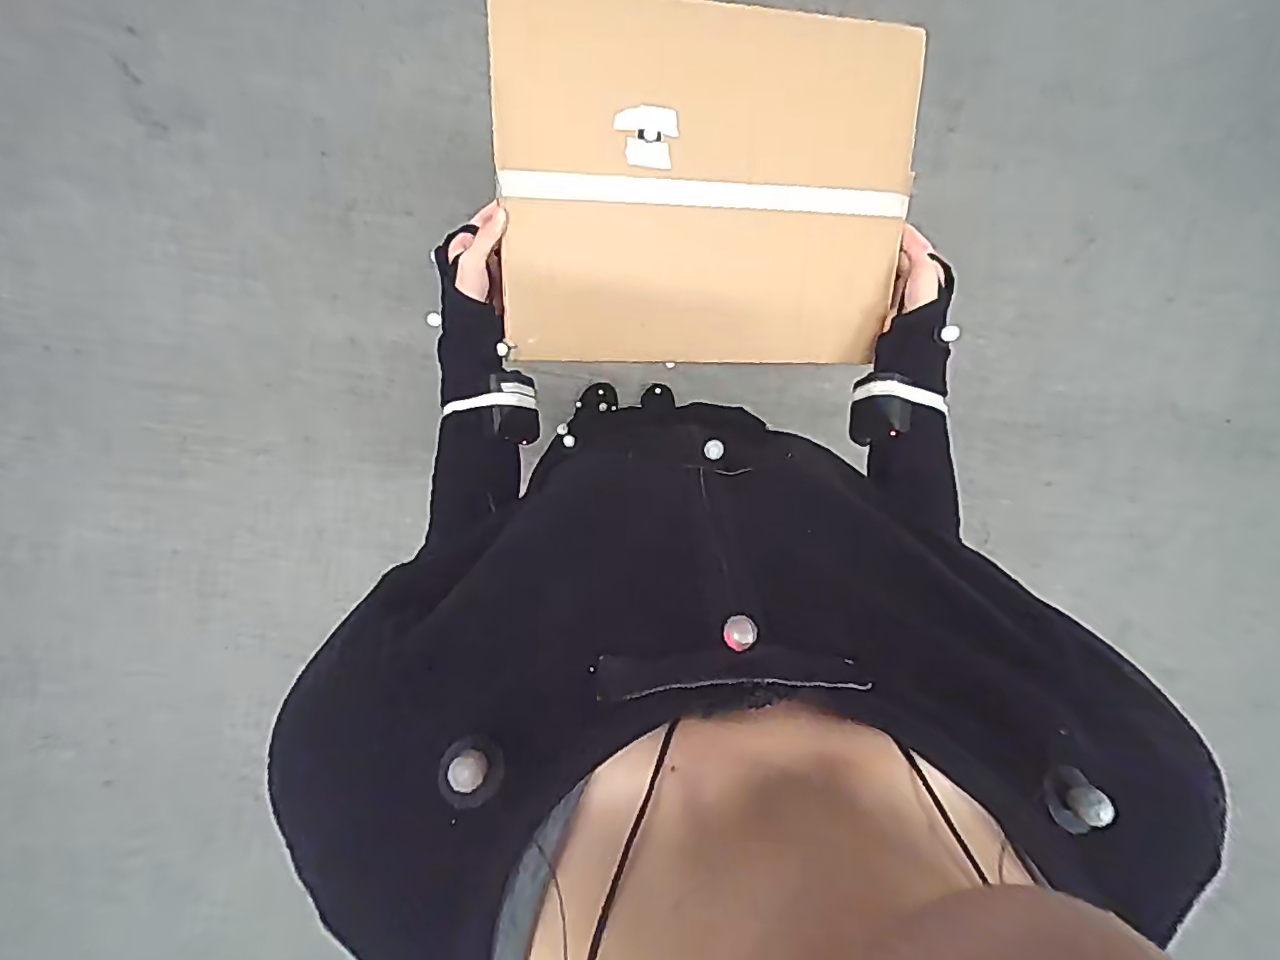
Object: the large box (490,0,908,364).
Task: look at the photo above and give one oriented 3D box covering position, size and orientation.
[{"bbox_3d":[0.042,-0.320,0.679,0.408,0.320,0.320,-1,106,-9],"label":"large box"}]
